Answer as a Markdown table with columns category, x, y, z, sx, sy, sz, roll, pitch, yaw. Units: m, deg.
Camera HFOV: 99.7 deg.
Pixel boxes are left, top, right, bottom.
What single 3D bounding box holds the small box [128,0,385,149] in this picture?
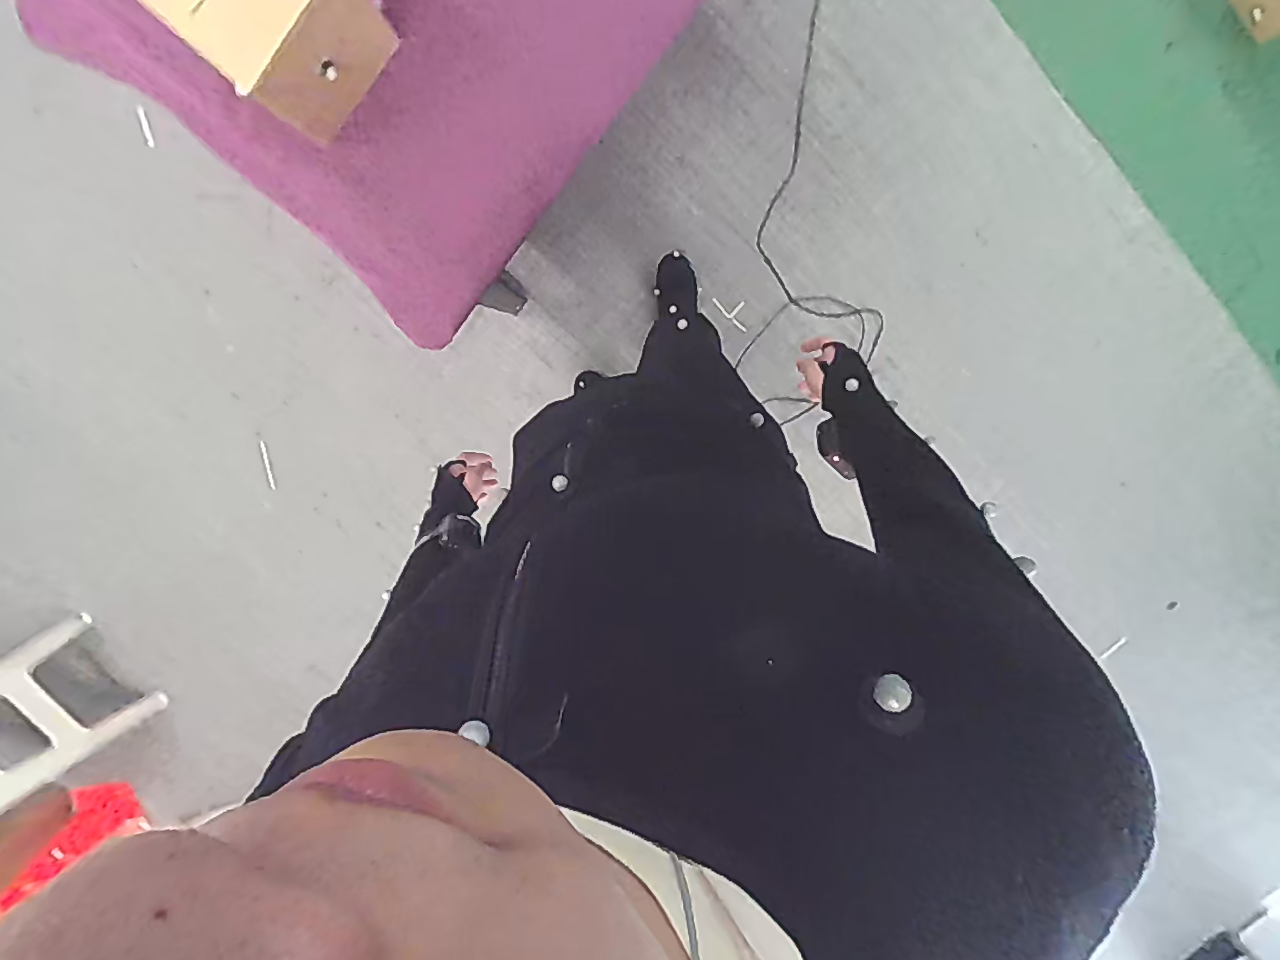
| category | x | y | z | sx | sy | sz | roll | pitch | yaw |
| --- | --- | --- | --- | --- | --- | --- | --- | --- | --- |
| small box | -0.434 | -0.543 | 0.638 | 0.168 | 0.176 | 0.179 | 40 | 100 | -11 |
